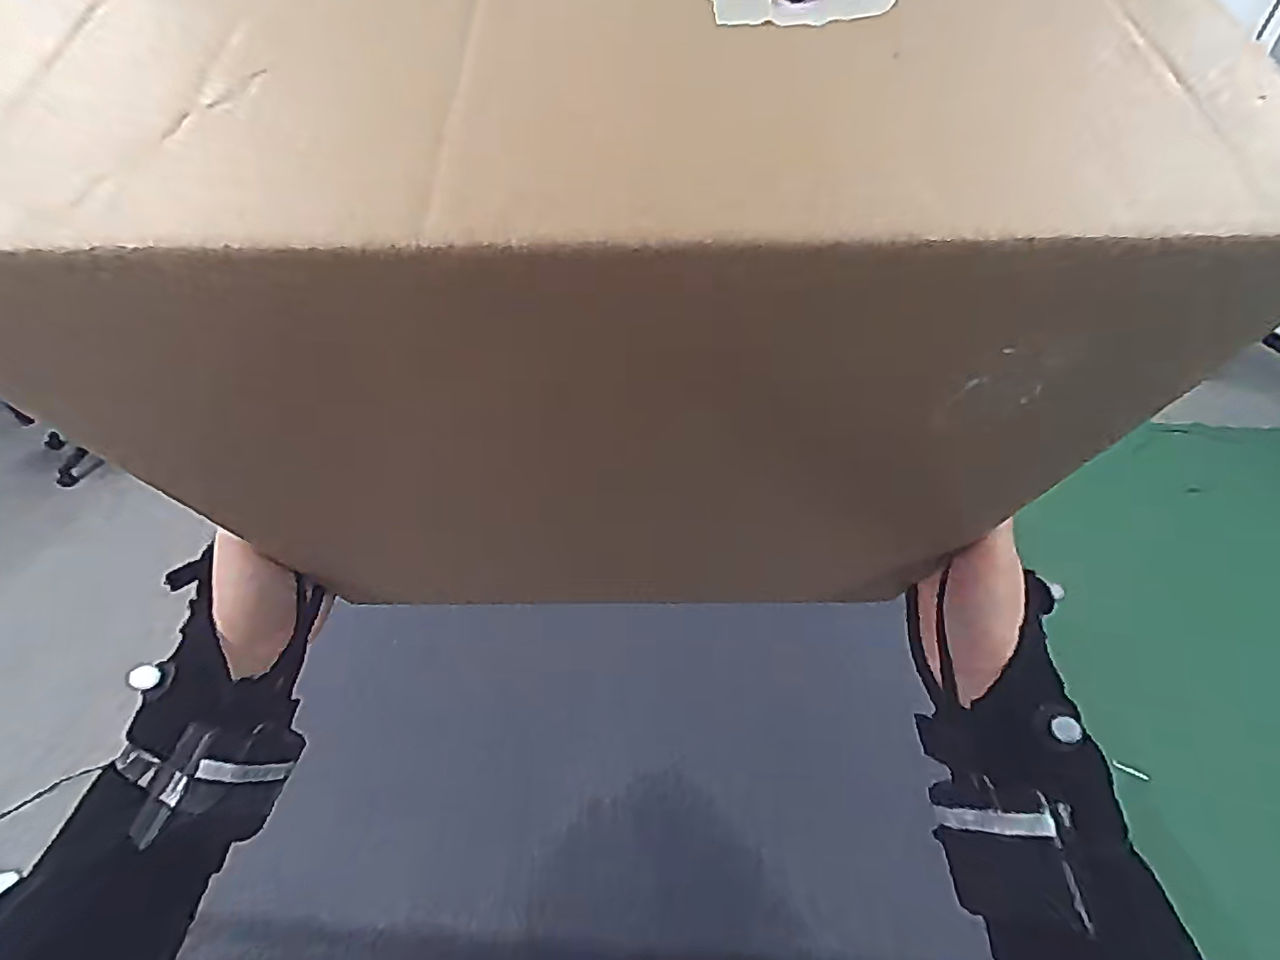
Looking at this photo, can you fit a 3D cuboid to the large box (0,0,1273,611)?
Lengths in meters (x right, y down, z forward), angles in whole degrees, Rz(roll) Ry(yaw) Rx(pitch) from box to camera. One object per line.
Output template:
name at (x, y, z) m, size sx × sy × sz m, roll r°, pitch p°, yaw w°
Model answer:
large box at (-0.019, -0.111, 0.353) m, size 0.408 × 0.320 × 0.320 m, roll -1°, pitch 62°, yaw -1°
